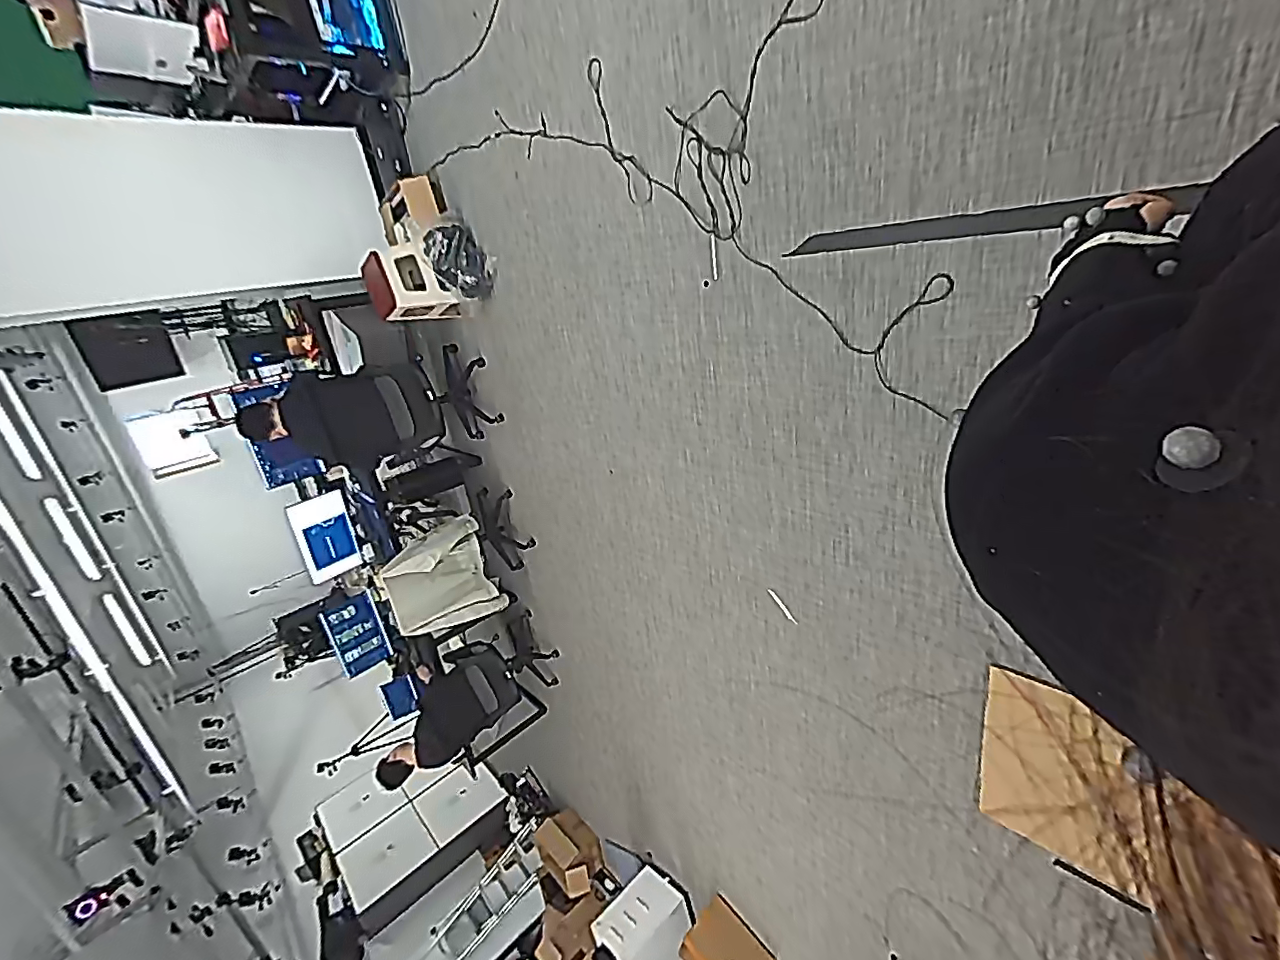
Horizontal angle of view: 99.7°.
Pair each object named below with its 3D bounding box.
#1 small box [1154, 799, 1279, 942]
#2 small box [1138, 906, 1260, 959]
[{"bbox_3d":[1.351,0.902,1.268,0.168,0.176,0.179,19,125,45],"label":"small box"},{"bbox_3d":[1.110,1.021,1.078,0.168,0.176,0.179,16,122,46],"label":"small box"}]
